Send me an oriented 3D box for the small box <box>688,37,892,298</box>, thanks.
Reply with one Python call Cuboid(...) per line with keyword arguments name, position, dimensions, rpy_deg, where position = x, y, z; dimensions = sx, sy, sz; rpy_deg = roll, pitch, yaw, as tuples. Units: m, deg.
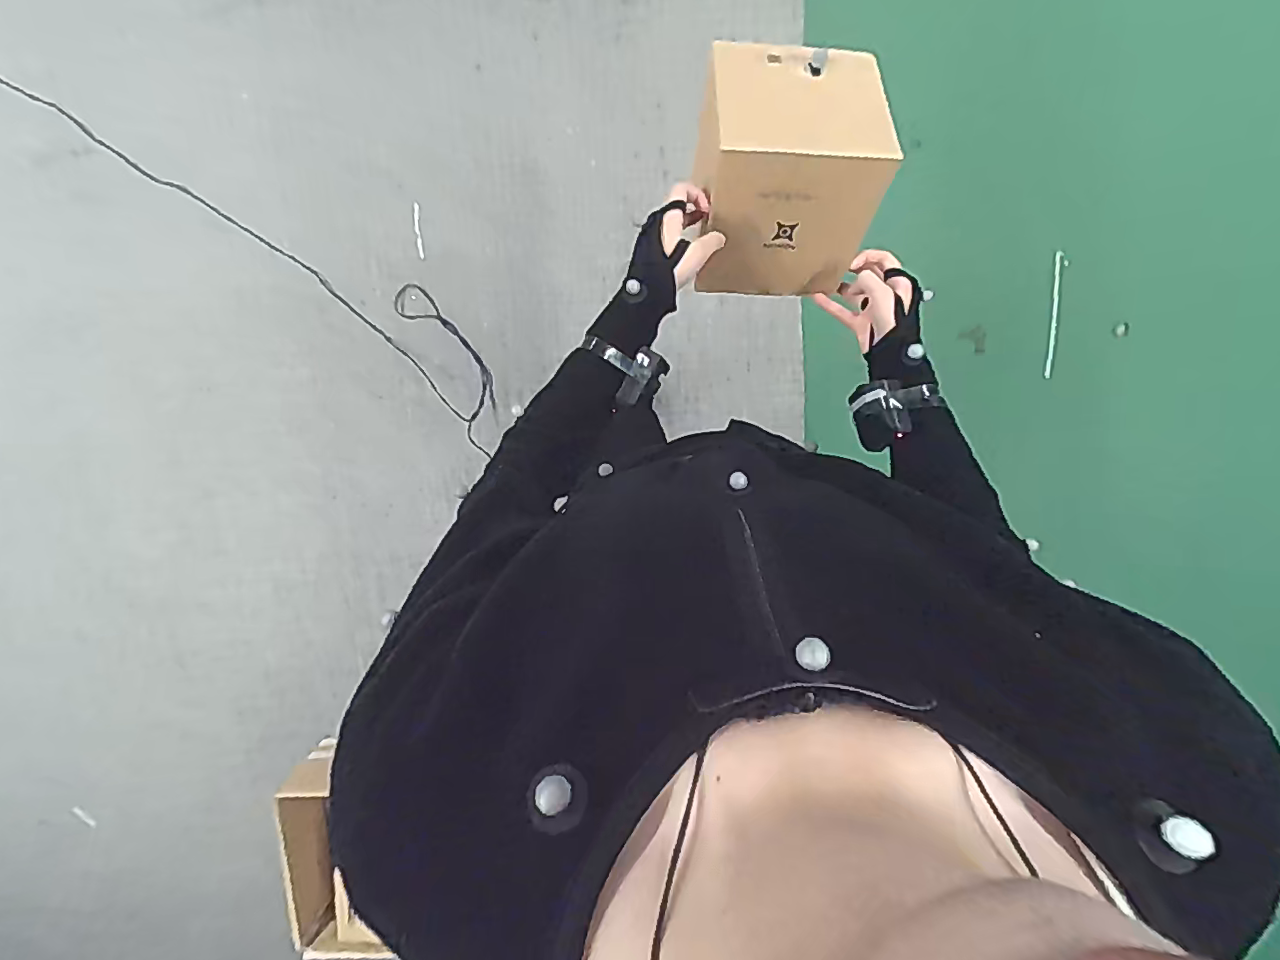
Cuboid(name="small box", position=(0.143, -0.325, 0.582), dimensions=(0.168, 0.179, 0.176), rpy_deg=(2, 66, -1))
